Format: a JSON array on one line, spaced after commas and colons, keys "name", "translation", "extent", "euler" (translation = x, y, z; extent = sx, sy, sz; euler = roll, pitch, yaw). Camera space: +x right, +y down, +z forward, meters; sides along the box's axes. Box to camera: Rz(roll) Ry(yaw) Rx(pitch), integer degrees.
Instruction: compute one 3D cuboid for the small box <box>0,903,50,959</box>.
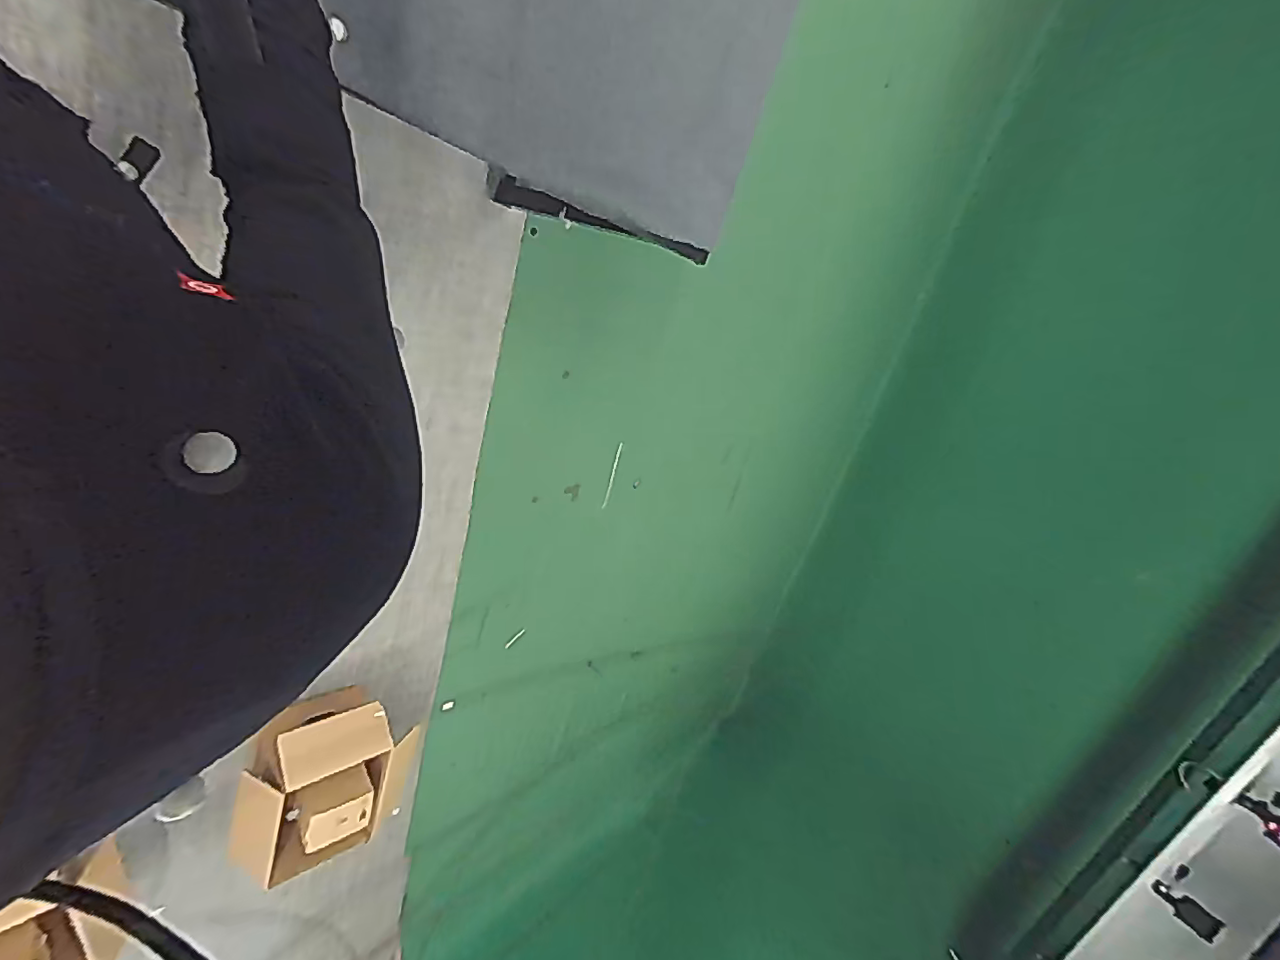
[{"name": "small box", "translation": [-1.441, 1.091, 1.192], "extent": [0.168, 0.176, 0.179], "euler": [-12, 123, -43]}]
